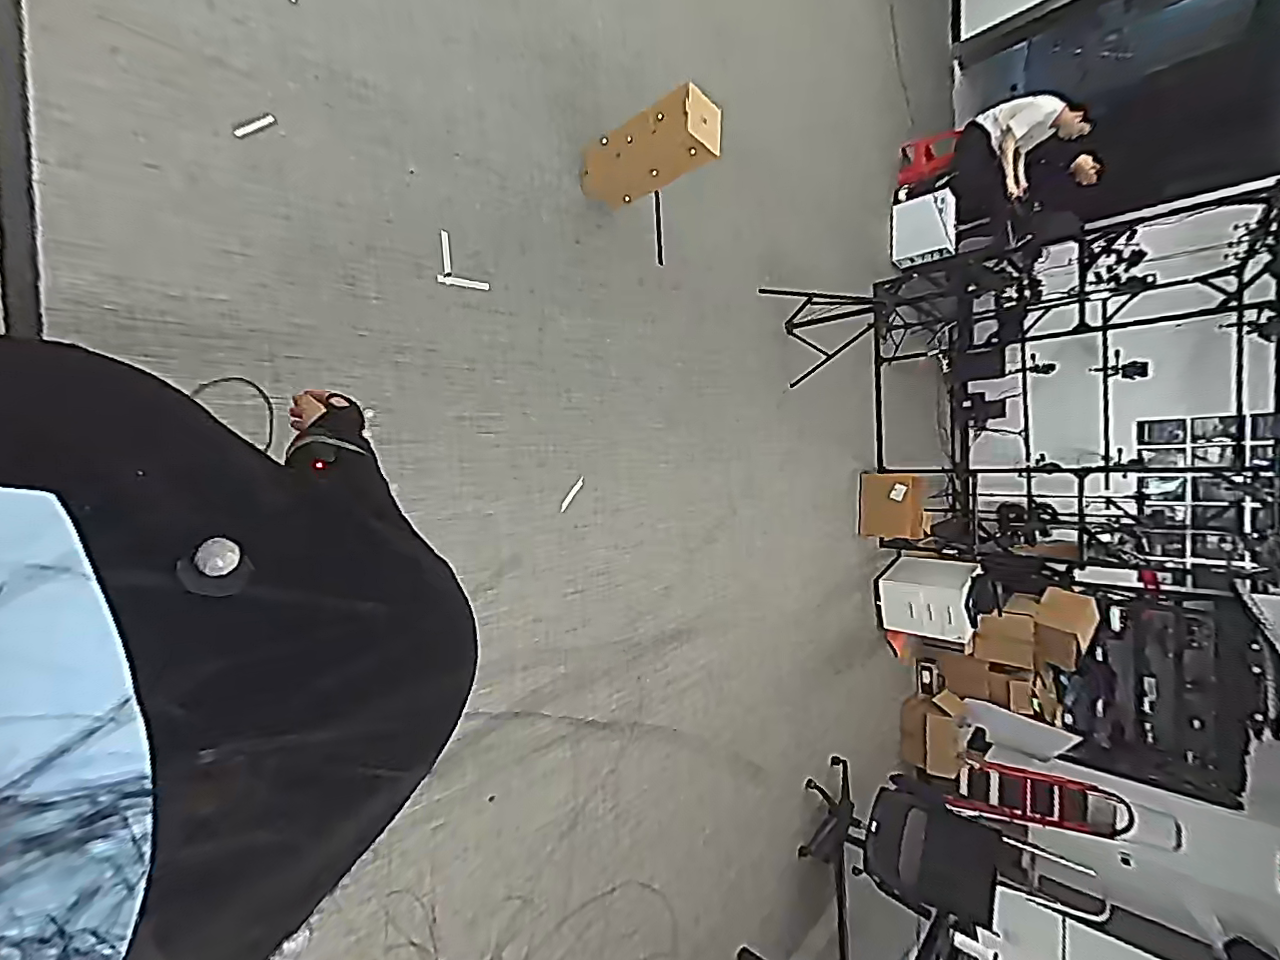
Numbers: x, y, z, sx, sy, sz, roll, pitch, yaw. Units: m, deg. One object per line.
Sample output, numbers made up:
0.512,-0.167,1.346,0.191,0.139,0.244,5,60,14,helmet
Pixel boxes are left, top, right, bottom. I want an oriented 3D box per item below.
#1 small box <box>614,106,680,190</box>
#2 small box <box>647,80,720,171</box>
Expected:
0.026,-1.161,1.910,0.179,0.176,0.168,5,86,-47,small box
0.146,-1.167,1.801,0.179,0.176,0.168,5,86,-46,small box
